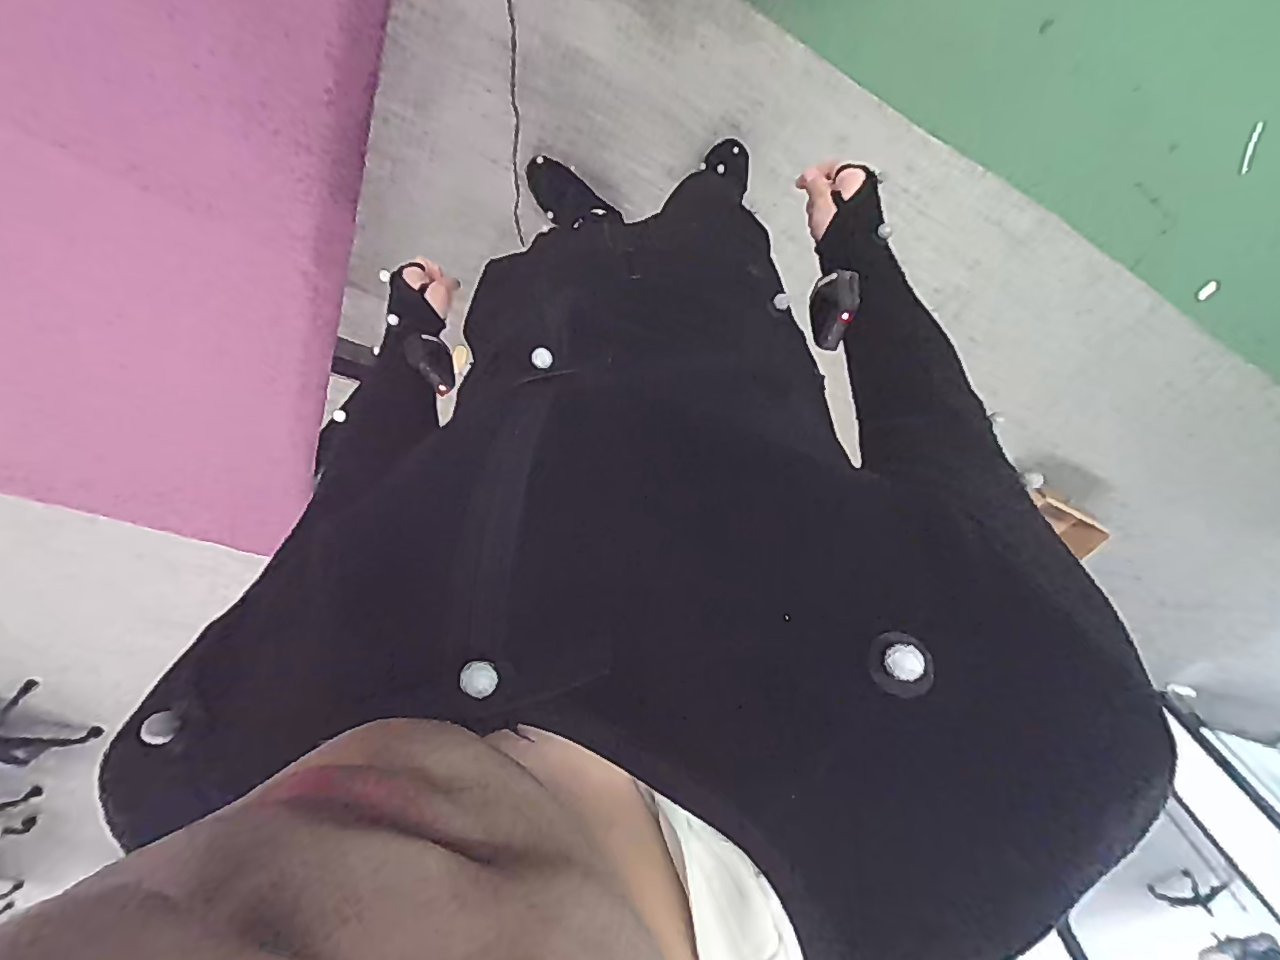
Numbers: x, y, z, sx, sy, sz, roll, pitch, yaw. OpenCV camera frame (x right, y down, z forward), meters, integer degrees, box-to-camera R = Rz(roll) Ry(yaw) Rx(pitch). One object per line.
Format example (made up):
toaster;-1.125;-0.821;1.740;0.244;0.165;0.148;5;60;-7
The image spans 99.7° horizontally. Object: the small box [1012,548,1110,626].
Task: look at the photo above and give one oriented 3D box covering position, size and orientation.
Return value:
small box;1.432;0.362;1.848;0.179;0.176;0.168;29;121;-21
